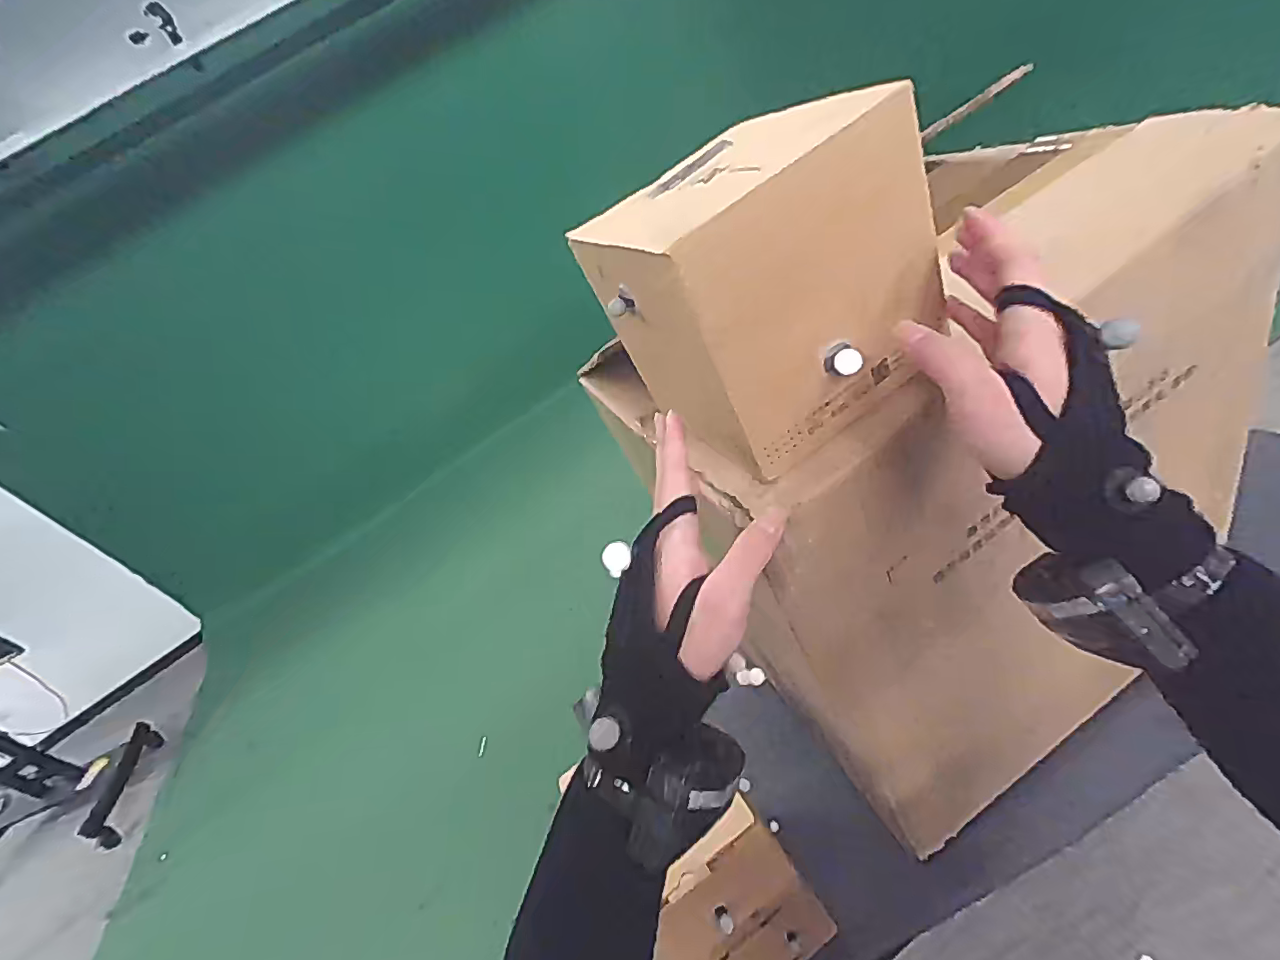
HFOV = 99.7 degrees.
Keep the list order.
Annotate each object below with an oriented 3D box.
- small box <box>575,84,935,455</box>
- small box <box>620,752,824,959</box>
[{"bbox_3d":[0.081,-0.144,0.399,0.168,0.176,0.179,-36,34,-5],"label":"small box"},{"bbox_3d":[0.106,0.502,0.691,0.168,0.176,0.179,-34,32,-9],"label":"small box"}]
